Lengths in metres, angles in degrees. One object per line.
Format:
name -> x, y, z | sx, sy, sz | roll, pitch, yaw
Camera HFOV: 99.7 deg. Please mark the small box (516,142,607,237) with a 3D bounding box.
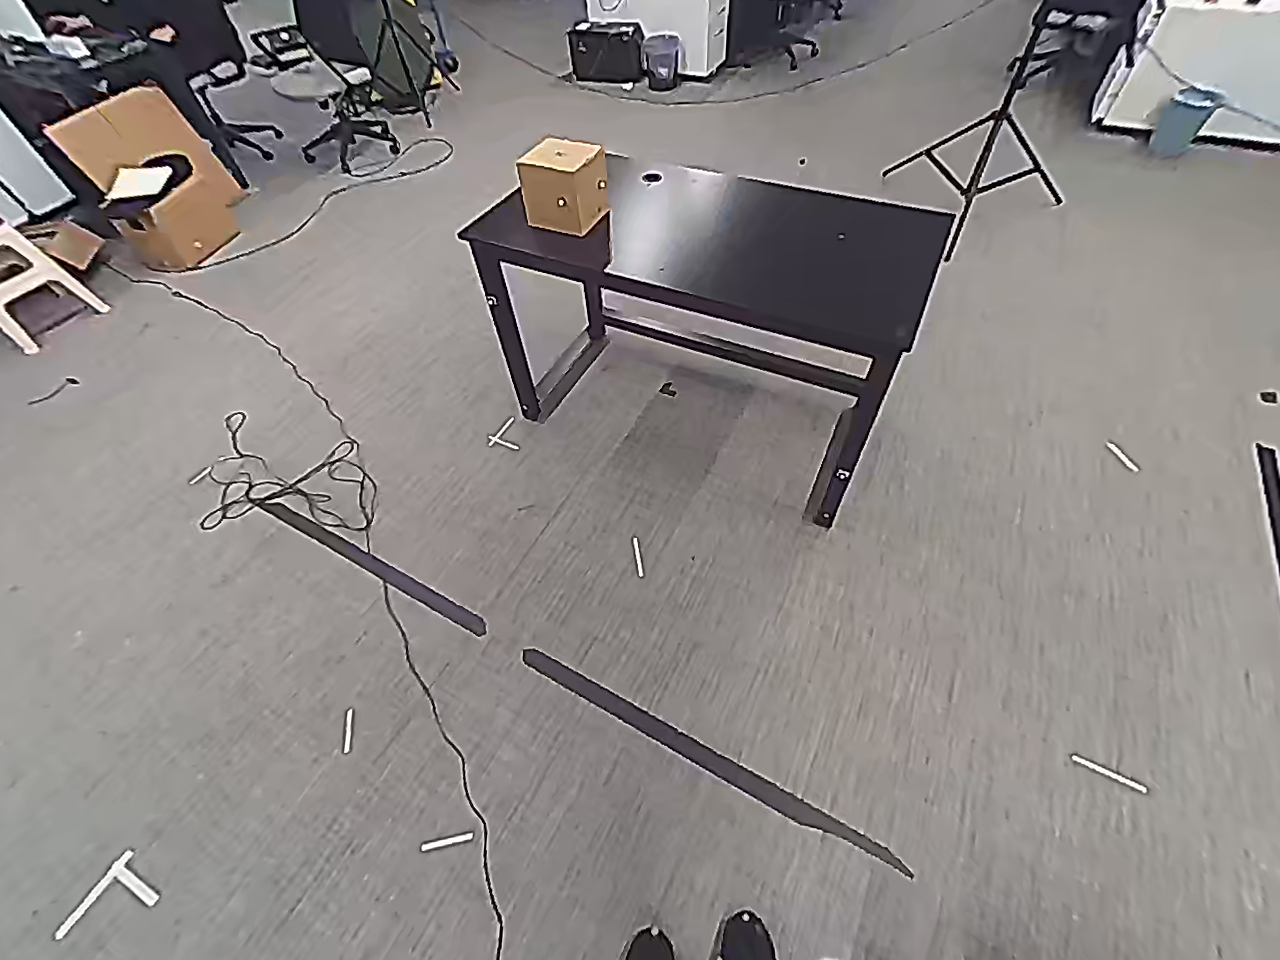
small box -> -0.202, -0.782, 1.462 | 0.179, 0.176, 0.168 | 18, 55, 17
